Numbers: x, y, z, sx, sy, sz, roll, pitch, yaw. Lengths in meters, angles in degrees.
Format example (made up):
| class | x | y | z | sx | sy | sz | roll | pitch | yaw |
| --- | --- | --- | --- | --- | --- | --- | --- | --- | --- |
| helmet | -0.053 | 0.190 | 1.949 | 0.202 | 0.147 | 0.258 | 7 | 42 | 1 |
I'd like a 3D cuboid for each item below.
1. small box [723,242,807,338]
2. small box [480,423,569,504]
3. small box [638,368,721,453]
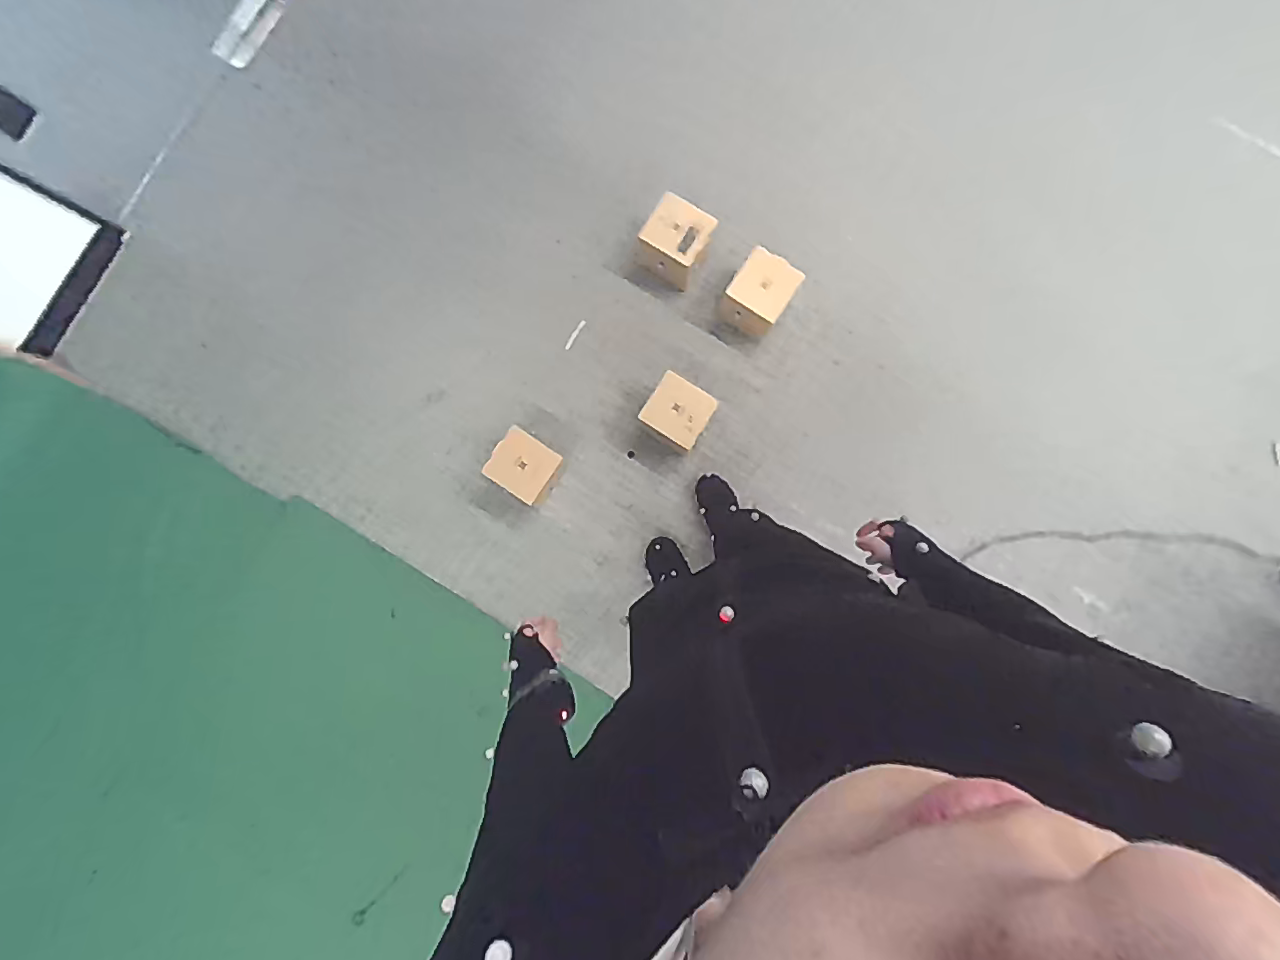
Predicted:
| class | x | y | z | sx | sy | sz | roll | pitch | yaw |
| --- | --- | --- | --- | --- | --- | --- | --- | --- | --- |
| small box | 0.357 | -0.550 | 1.590 | 0.168 | 0.176 | 0.179 | 34 | 87 | 4 |
| small box | -0.328 | -0.040 | 1.575 | 0.179 | 0.176 | 0.168 | 34 | 88 | 3 |
| small box | 0.111 | -0.192 | 1.570 | 0.179 | 0.176 | 0.168 | 33 | 88 | 4 |
